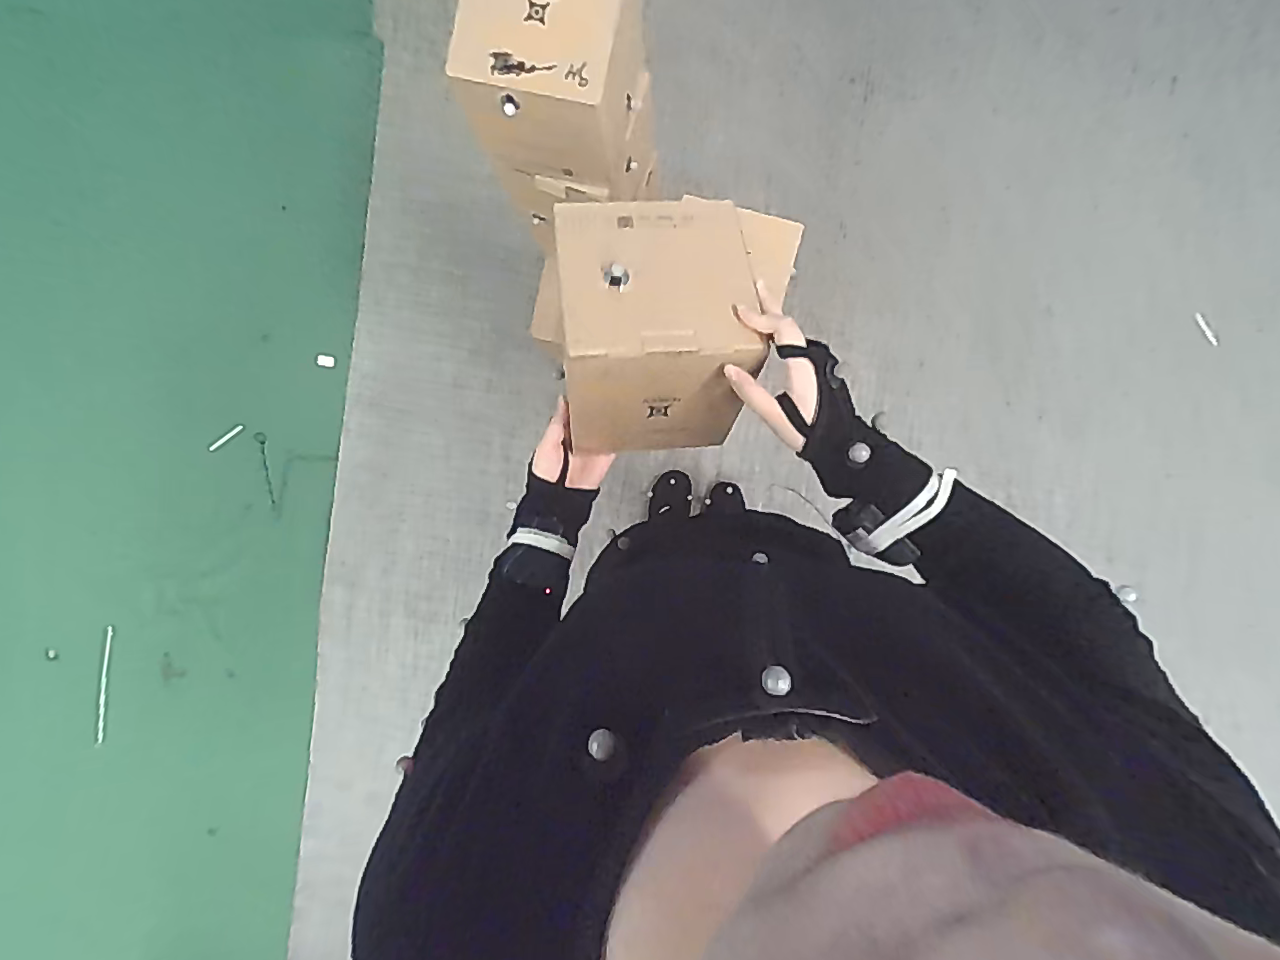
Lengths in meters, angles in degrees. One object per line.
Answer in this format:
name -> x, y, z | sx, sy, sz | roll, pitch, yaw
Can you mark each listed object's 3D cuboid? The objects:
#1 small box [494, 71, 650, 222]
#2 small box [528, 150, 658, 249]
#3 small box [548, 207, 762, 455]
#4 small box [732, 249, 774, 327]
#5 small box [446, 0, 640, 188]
small box -> -0.087, -0.479, 0.794 | 0.168, 0.176, 0.179 | 20, 91, 2
small box -> -0.075, -0.481, 0.959 | 0.179, 0.176, 0.168 | 18, 93, 1
small box -> 0.001, -0.142, 0.532 | 0.168, 0.179, 0.176 | -5, 68, -8
small box -> 0.126, -0.293, 0.954 | 0.168, 0.176, 0.179 | 10, 92, 2
small box -> -0.098, -0.482, 0.630 | 0.168, 0.176, 0.179 | 13, 91, 3
